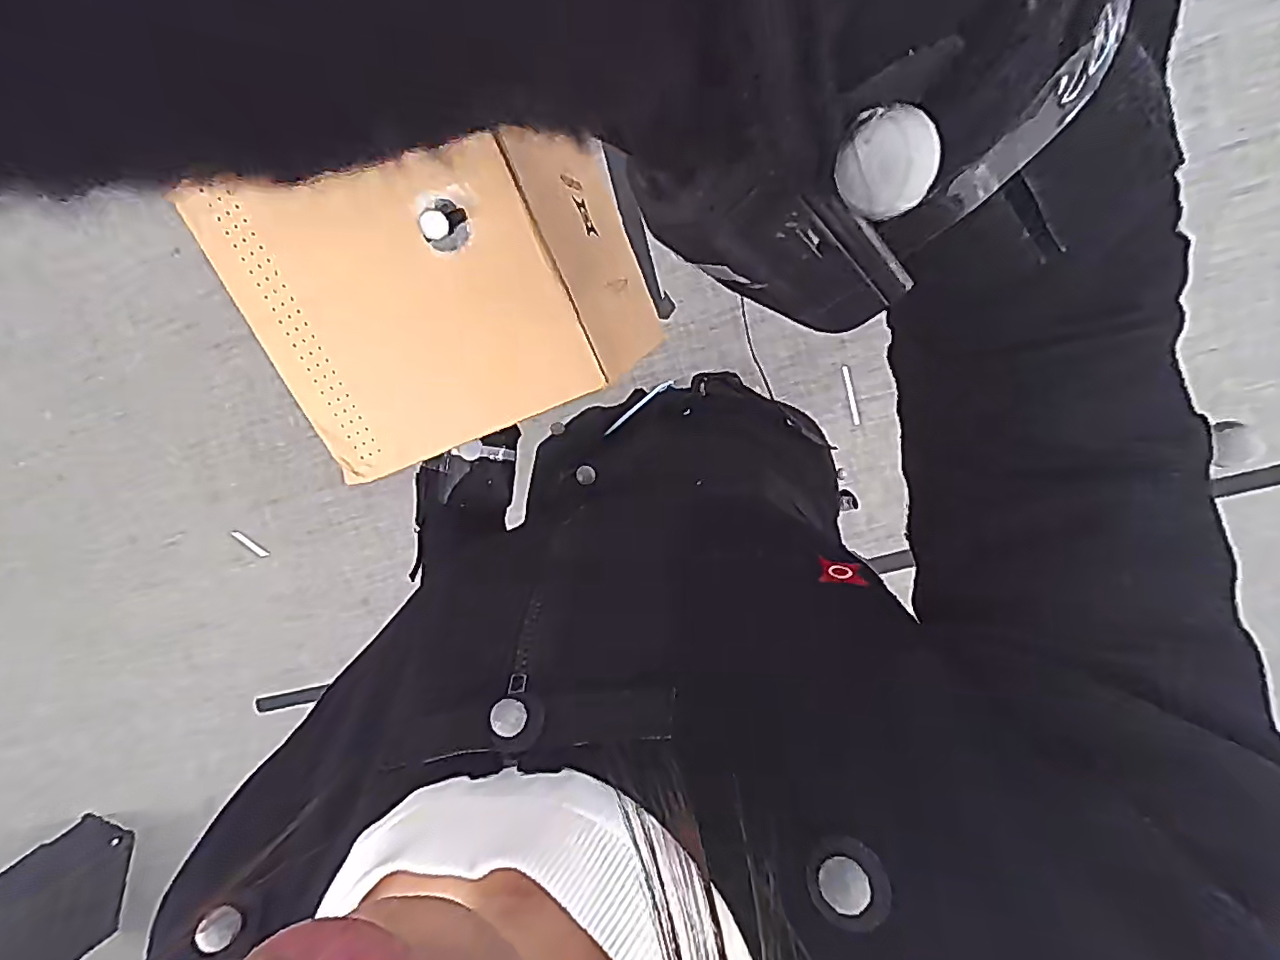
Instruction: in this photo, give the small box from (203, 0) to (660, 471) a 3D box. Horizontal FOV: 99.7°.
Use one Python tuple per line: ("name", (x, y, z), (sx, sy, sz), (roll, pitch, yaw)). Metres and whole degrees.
("small box", (-0.107, -0.129, 0.338), (0.176, 0.168, 0.179), (-18, 107, 19))
